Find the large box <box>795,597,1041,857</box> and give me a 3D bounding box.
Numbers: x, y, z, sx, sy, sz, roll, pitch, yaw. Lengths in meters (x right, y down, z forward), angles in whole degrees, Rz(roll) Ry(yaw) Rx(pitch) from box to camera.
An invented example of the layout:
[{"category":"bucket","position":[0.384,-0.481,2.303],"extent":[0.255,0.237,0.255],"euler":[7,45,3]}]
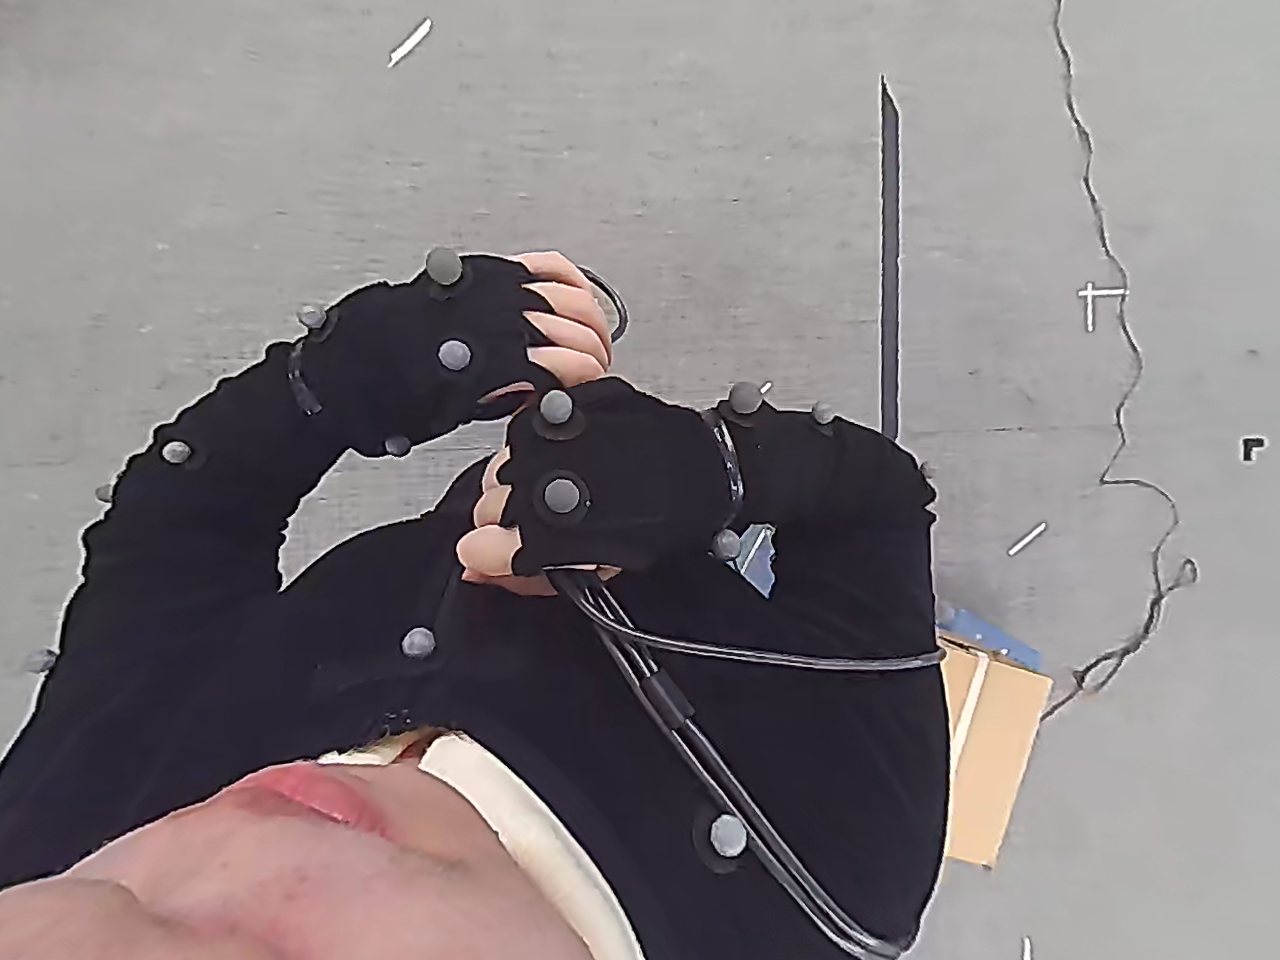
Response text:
[{"category":"large box","position":[0.598,0.526,1.227],"extent":[0.320,0.320,0.408],"euler":[18,91,-3]}]
